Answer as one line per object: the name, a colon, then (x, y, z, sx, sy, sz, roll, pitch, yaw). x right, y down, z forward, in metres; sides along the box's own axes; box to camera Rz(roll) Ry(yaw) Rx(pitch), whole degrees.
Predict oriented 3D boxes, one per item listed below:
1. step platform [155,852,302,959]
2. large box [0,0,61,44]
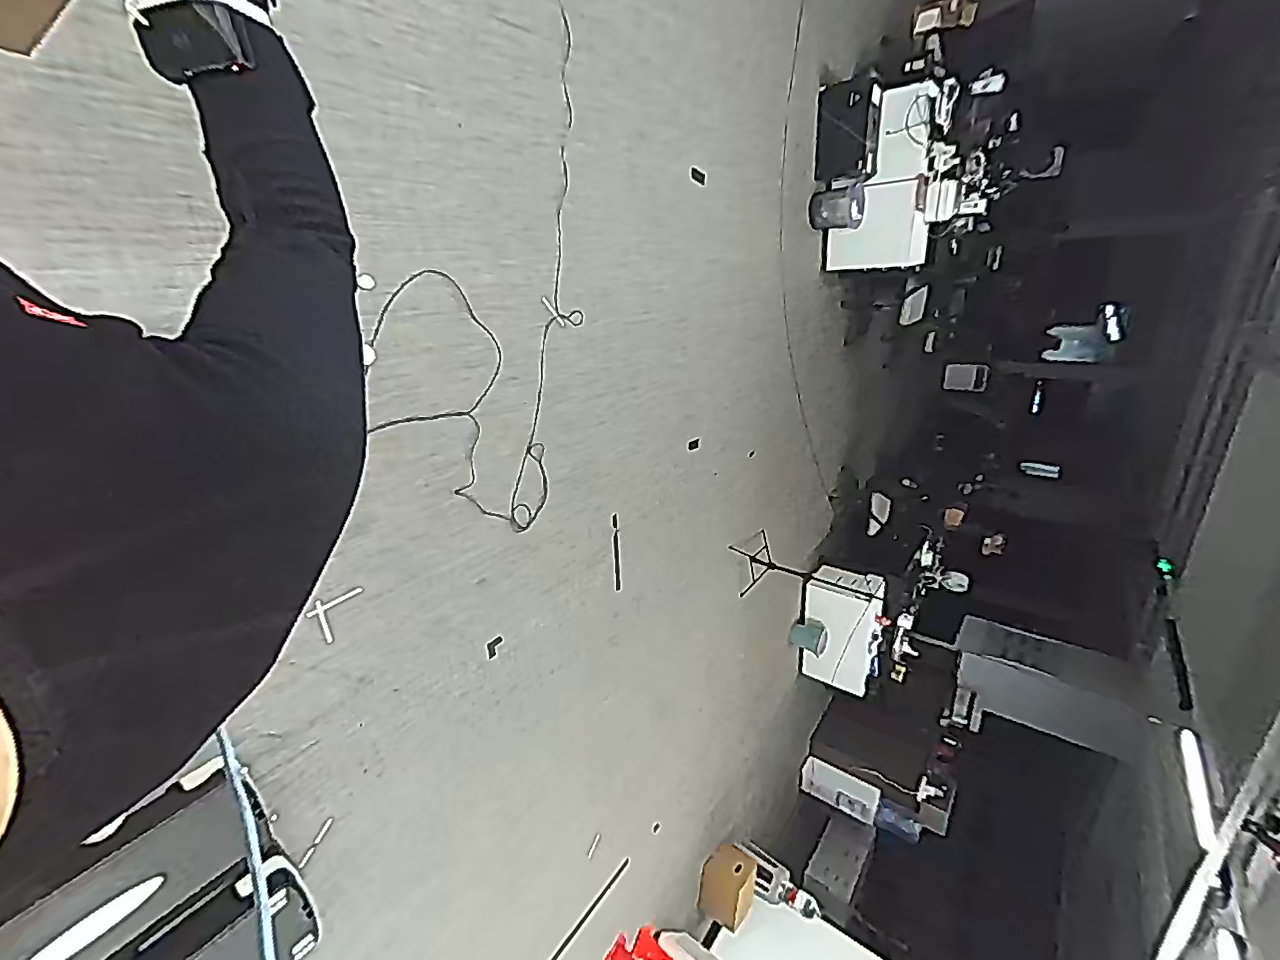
step platform: (-1.171, 1.243, 1.226, 0.684, 0.204, 0.286, -29, 123, -44)
large box: (-0.549, -0.449, 0.207, 0.408, 0.320, 0.320, -20, 122, -50)
